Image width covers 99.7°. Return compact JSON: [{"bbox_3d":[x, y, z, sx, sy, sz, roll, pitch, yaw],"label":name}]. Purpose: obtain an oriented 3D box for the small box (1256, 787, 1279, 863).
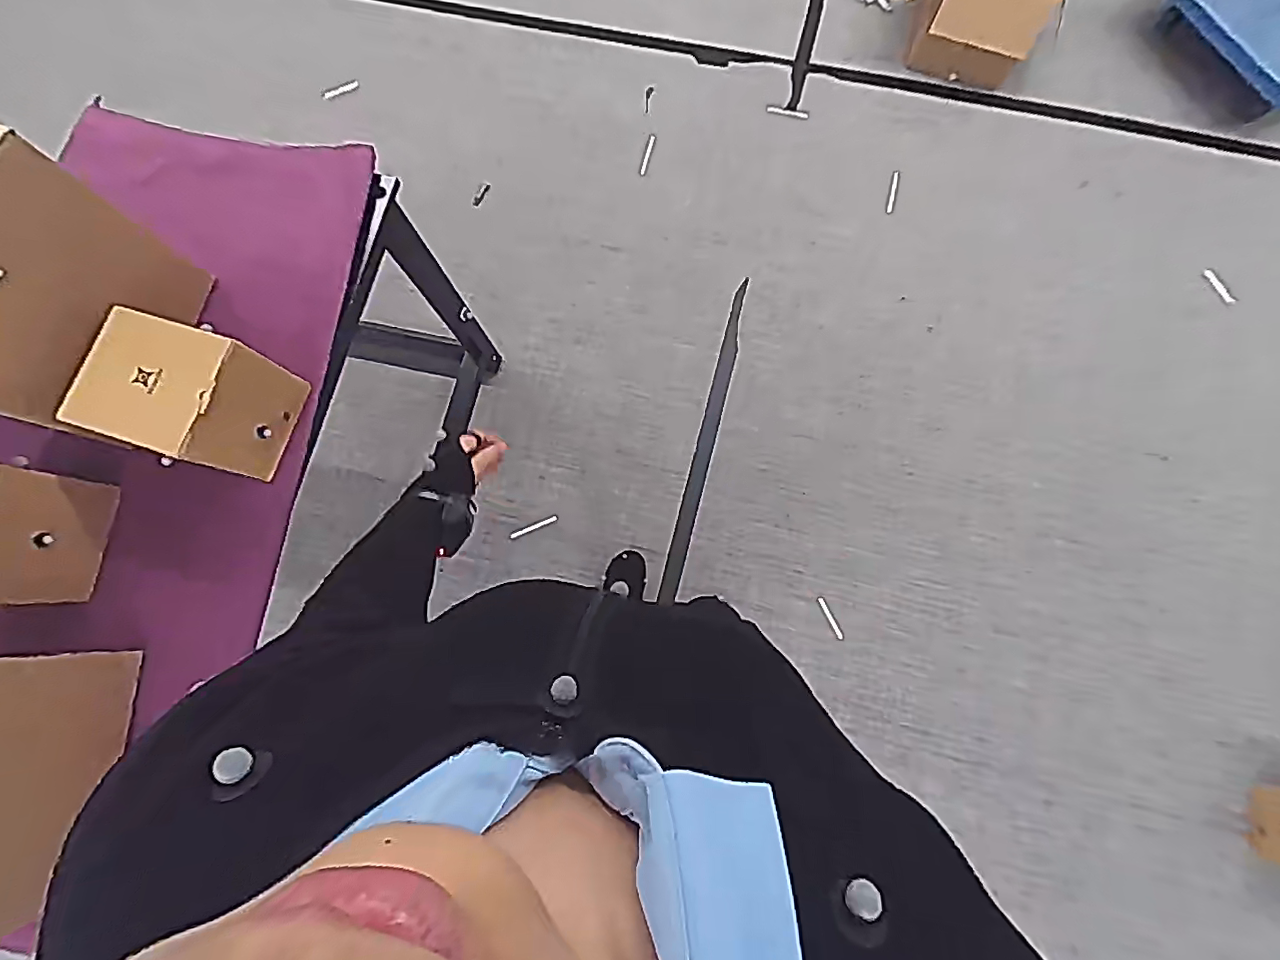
[{"bbox_3d":[1.619,0.848,1.270,0.179,0.176,0.168,12,79,3],"label":"small box"}]
